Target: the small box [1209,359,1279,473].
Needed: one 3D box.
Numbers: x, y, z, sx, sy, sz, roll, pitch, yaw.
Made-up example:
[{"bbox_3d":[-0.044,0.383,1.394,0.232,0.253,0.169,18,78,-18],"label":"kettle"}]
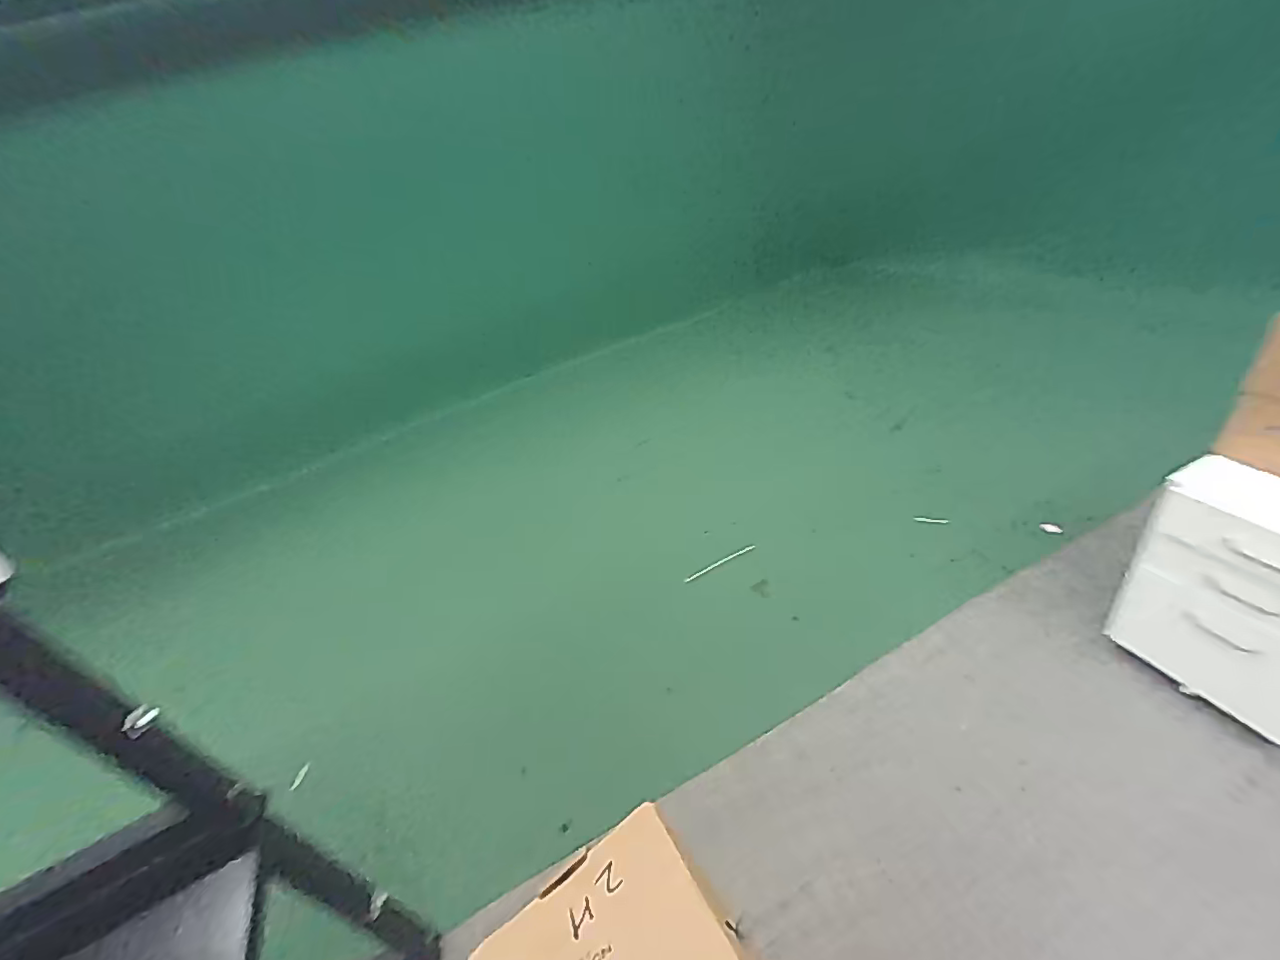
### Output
[{"bbox_3d":[1.382,-0.130,1.144,0.168,0.176,0.179,-25,37,-12],"label":"small box"}]
